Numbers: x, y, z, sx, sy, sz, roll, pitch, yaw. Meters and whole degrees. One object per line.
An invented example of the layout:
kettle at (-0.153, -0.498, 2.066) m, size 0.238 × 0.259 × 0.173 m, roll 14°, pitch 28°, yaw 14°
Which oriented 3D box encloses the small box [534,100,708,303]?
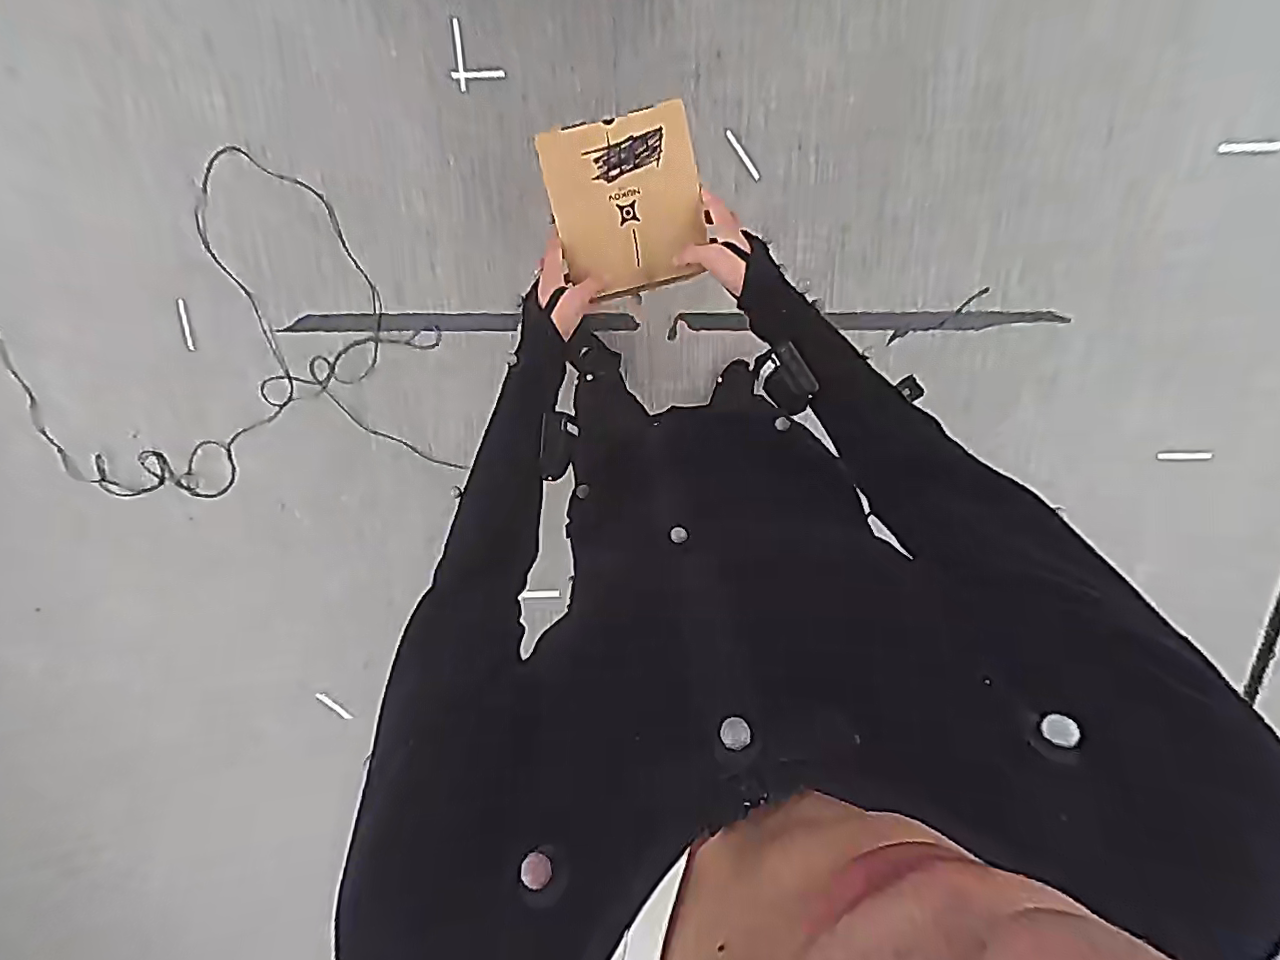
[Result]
small box at (-0.024, -0.329, 0.676) m, size 0.168 × 0.176 × 0.179 m, roll -14°, pitch 107°, yaw 1°

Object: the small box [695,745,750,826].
small box at (0.285, 1.059, 1.879) m, size 0.168 × 0.176 × 0.179 m, roll -7°, pitch 106°, yaw 2°
